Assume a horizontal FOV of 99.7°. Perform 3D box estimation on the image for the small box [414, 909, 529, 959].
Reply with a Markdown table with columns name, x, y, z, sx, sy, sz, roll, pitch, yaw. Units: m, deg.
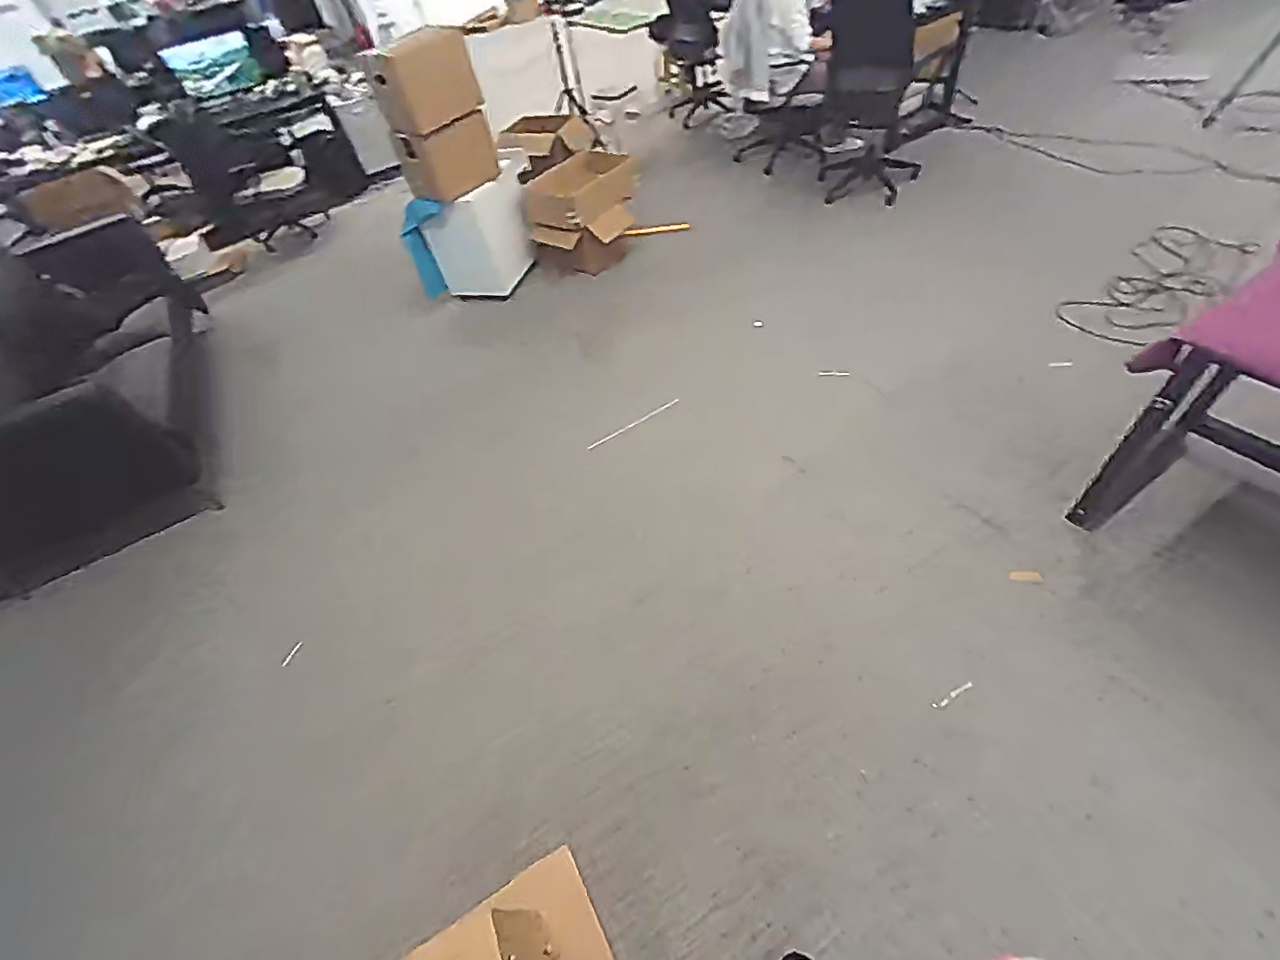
| name | x | y | z | sx | sy | sz | roll | pitch | yaw |
| --- | --- | --- | --- | --- | --- | --- | --- | --- | --- |
| small box | -0.316 | 0.983 | 1.061 | 0.168 | 0.176 | 0.179 | -25 | 50 | -10 |

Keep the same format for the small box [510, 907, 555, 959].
| name | x | y | z | sx | sy | sz | roll | pitch | yaw |
| --- | --- | --- | --- | --- | --- | --- | --- | --- | --- |
| small box | -0.288 | 1.085 | 1.186 | 0.168 | 0.176 | 0.179 | -27 | 50 | -11 |
